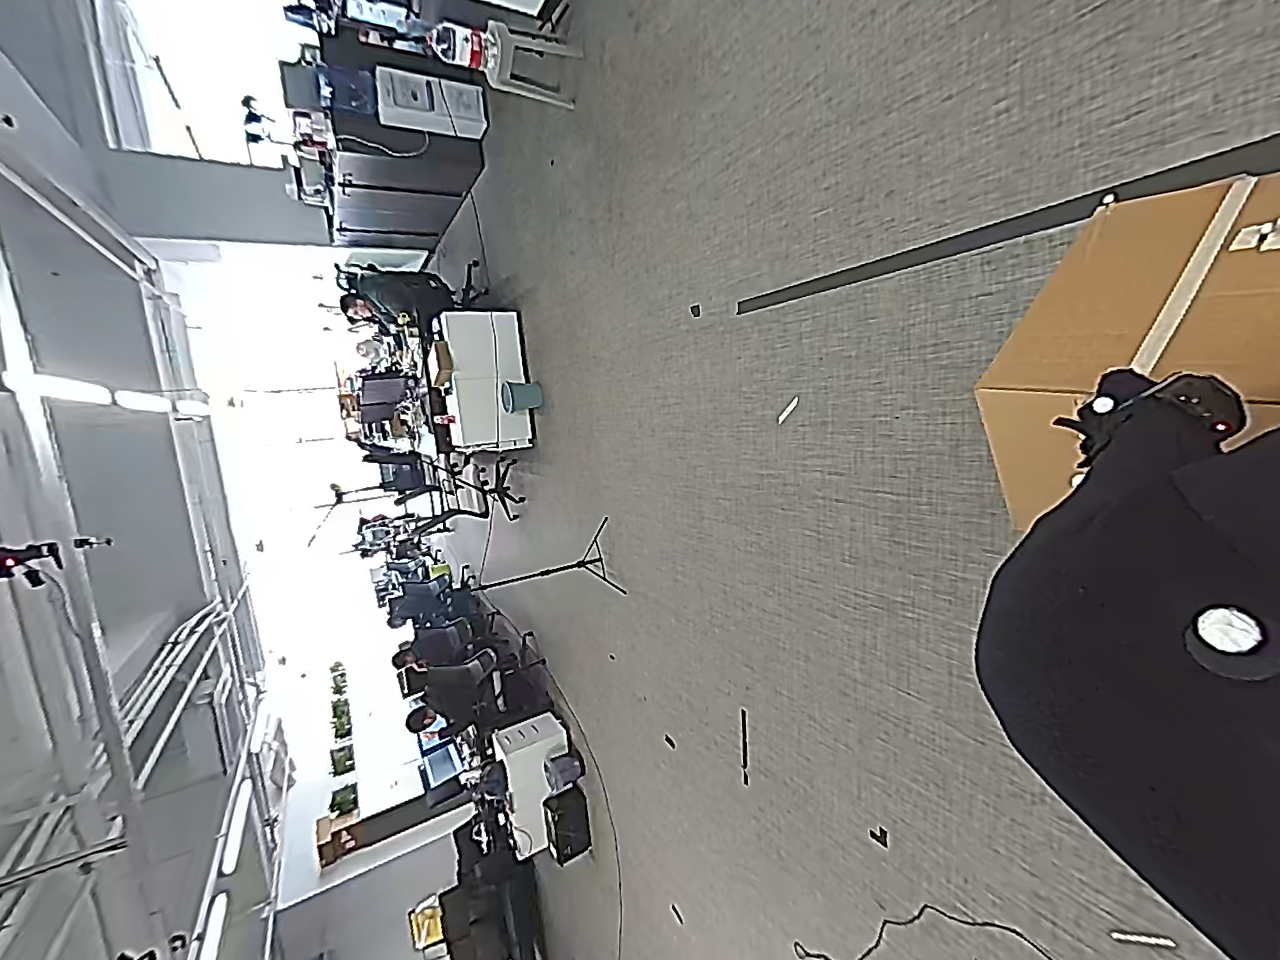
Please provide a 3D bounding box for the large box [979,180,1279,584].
[{"bbox_3d":[0.741,-0.135,0.732,0.320,0.408,0.320,21,154,54],"label":"large box"}]
